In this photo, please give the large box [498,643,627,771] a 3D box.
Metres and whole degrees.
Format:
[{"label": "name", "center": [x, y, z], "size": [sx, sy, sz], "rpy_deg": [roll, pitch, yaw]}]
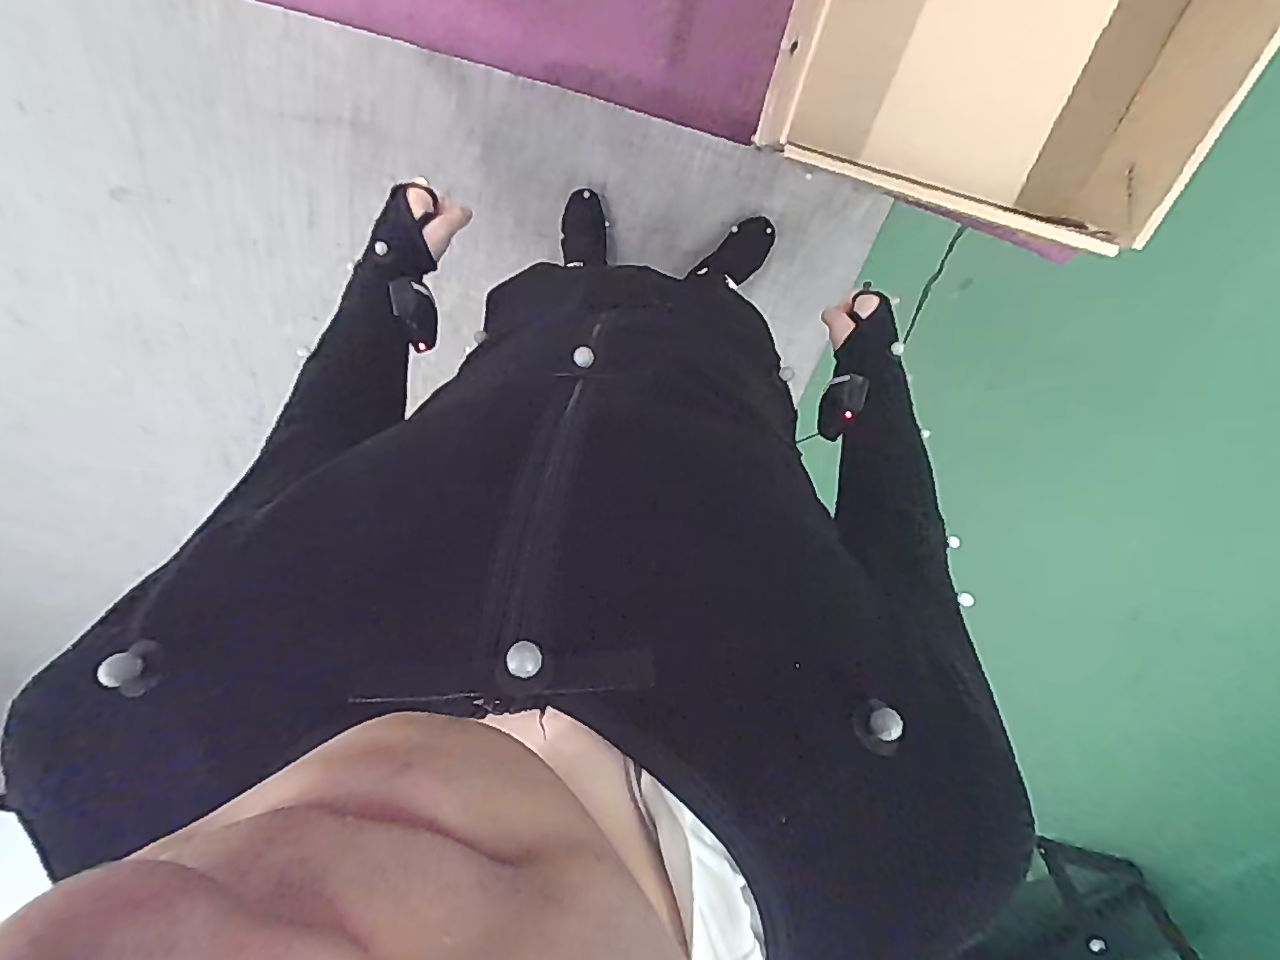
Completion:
[{"label": "large box", "center": [-0.291, 0.896, 2.149], "size": [0.408, 0.320, 0.320], "rpy_deg": [-14, 119, 9]}]
